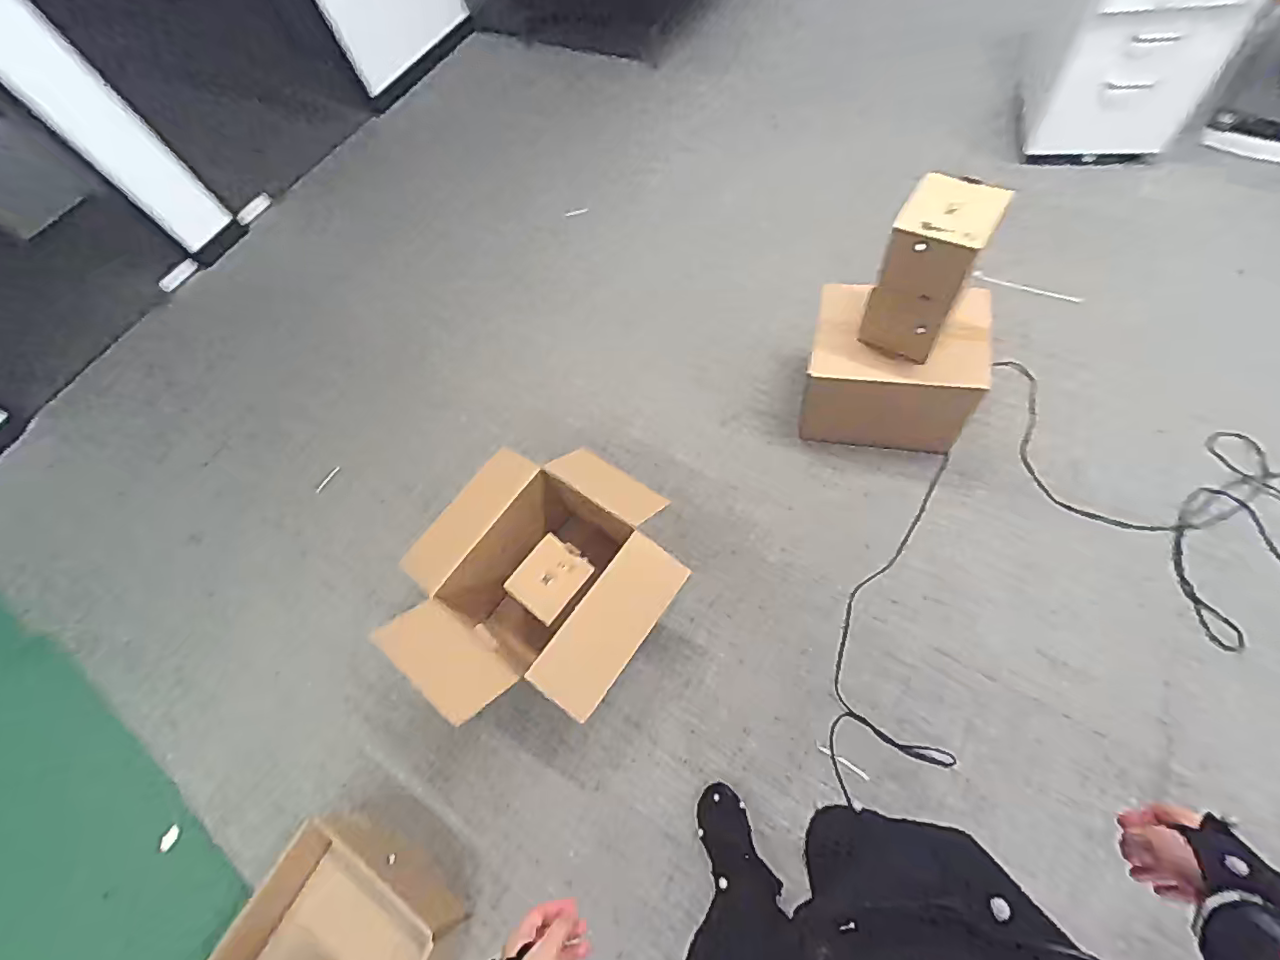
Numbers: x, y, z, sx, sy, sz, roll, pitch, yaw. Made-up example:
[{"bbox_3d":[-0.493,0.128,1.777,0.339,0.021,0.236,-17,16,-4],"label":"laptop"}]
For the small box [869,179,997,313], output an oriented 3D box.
[{"bbox_3d":[0.608,-0.492,1.144,0.168,0.176,0.179,28,70,23],"label":"small box"}]
